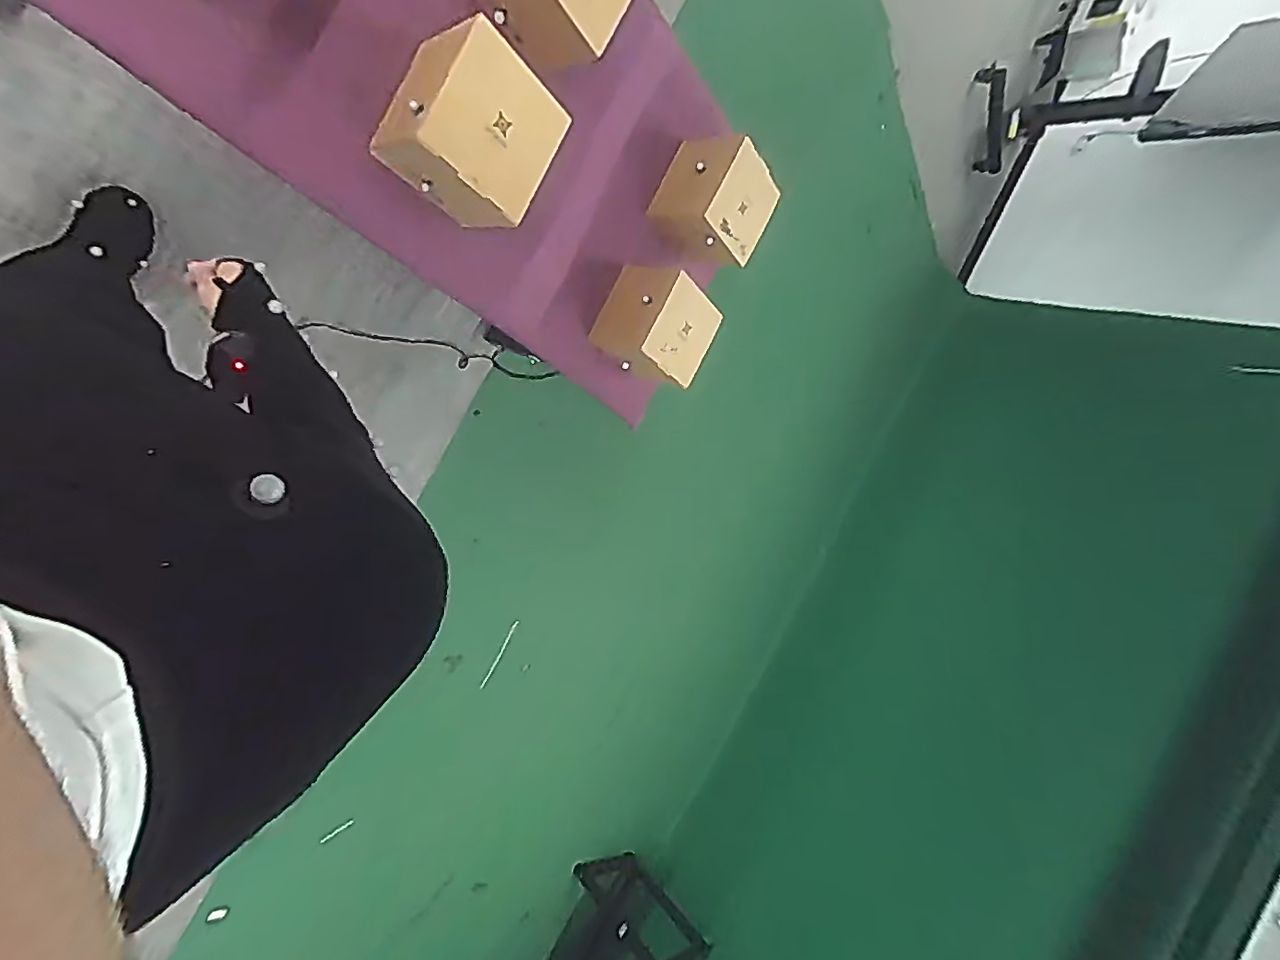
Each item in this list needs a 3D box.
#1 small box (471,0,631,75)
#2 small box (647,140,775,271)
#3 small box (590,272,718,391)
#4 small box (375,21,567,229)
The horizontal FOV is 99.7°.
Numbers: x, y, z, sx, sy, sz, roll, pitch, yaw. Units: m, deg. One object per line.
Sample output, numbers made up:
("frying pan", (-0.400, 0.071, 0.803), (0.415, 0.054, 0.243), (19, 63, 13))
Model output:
("small box", (-0.124, -0.727, 0.768), (0.168, 0.176, 0.179), (30, 88, -48))
("small box", (0.144, -0.563, 1.122), (0.168, 0.176, 0.179), (28, 88, -48))
("small box", (0.026, -0.312, 1.122), (0.168, 0.176, 0.179), (31, 86, -47))
("small box", (-0.242, -0.487, 0.767), (0.168, 0.176, 0.179), (28, 88, -49))
